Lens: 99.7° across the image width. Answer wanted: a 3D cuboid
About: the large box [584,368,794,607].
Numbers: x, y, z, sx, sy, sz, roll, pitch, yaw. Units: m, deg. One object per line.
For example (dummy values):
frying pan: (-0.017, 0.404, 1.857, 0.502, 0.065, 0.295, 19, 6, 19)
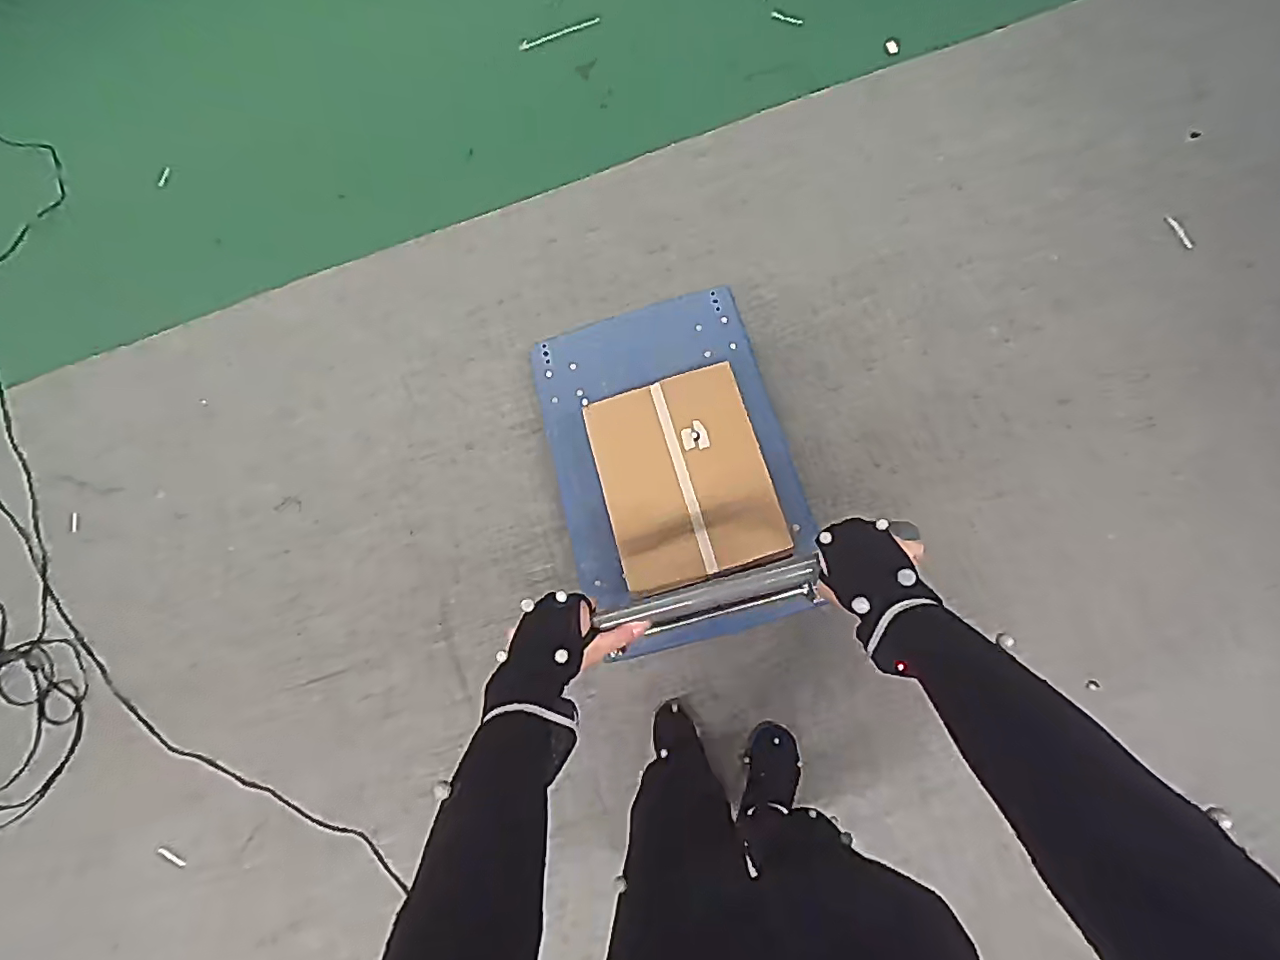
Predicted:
large box: (0.106, 0.037, 1.182, 0.320, 0.320, 0.408, -17, 73, 3)
